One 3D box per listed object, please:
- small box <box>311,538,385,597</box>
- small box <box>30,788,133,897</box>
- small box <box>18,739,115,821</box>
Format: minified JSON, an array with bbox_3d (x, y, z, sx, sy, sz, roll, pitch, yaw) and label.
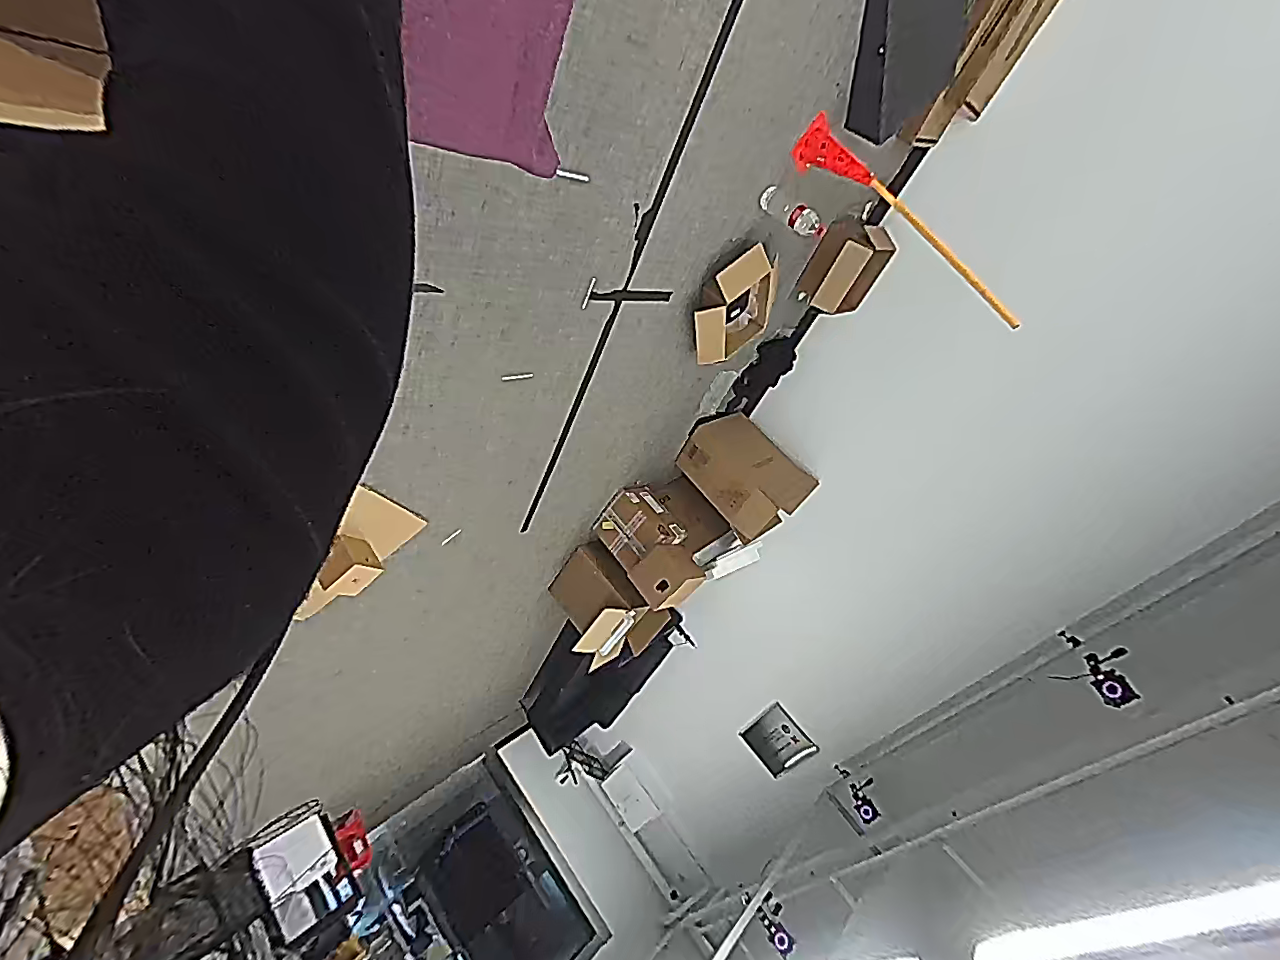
[{"bbox_3d":[-1.196,0.357,2.213,0.168,0.176,0.179,-42,157,-1],"label":"small box"},{"bbox_3d":[-1.571,1.012,1.525,0.168,0.176,0.179,-17,146,-47],"label":"small box"},{"bbox_3d":[-1.671,0.894,1.580,0.168,0.176,0.179,-15,146,-50],"label":"small box"}]
